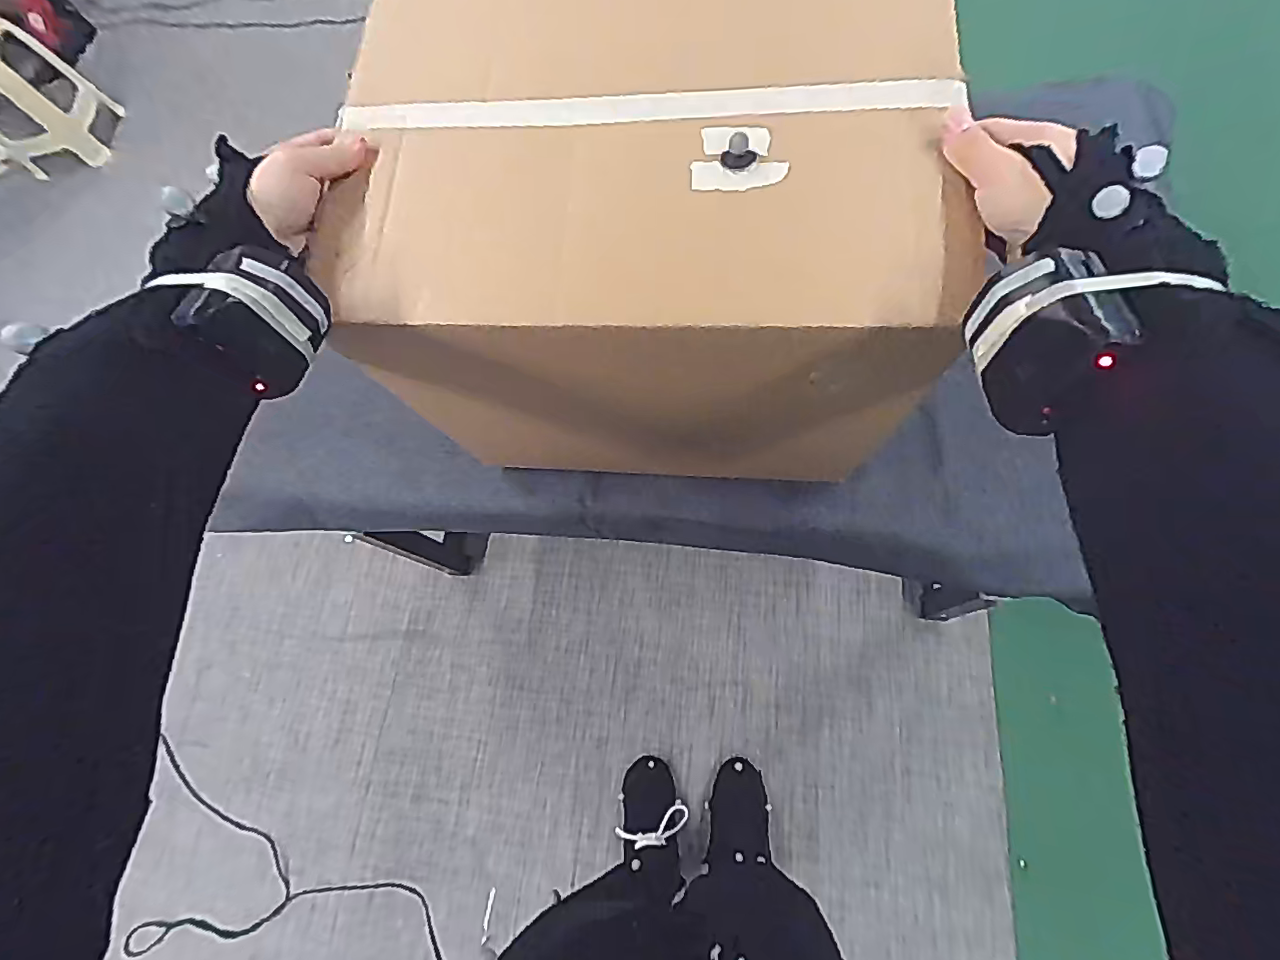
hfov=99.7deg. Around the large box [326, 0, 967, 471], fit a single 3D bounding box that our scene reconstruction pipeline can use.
[{"bbox_3d":[0.010,-0.198,0.513,0.408,0.320,0.320,2,75,5],"label":"large box"}]
